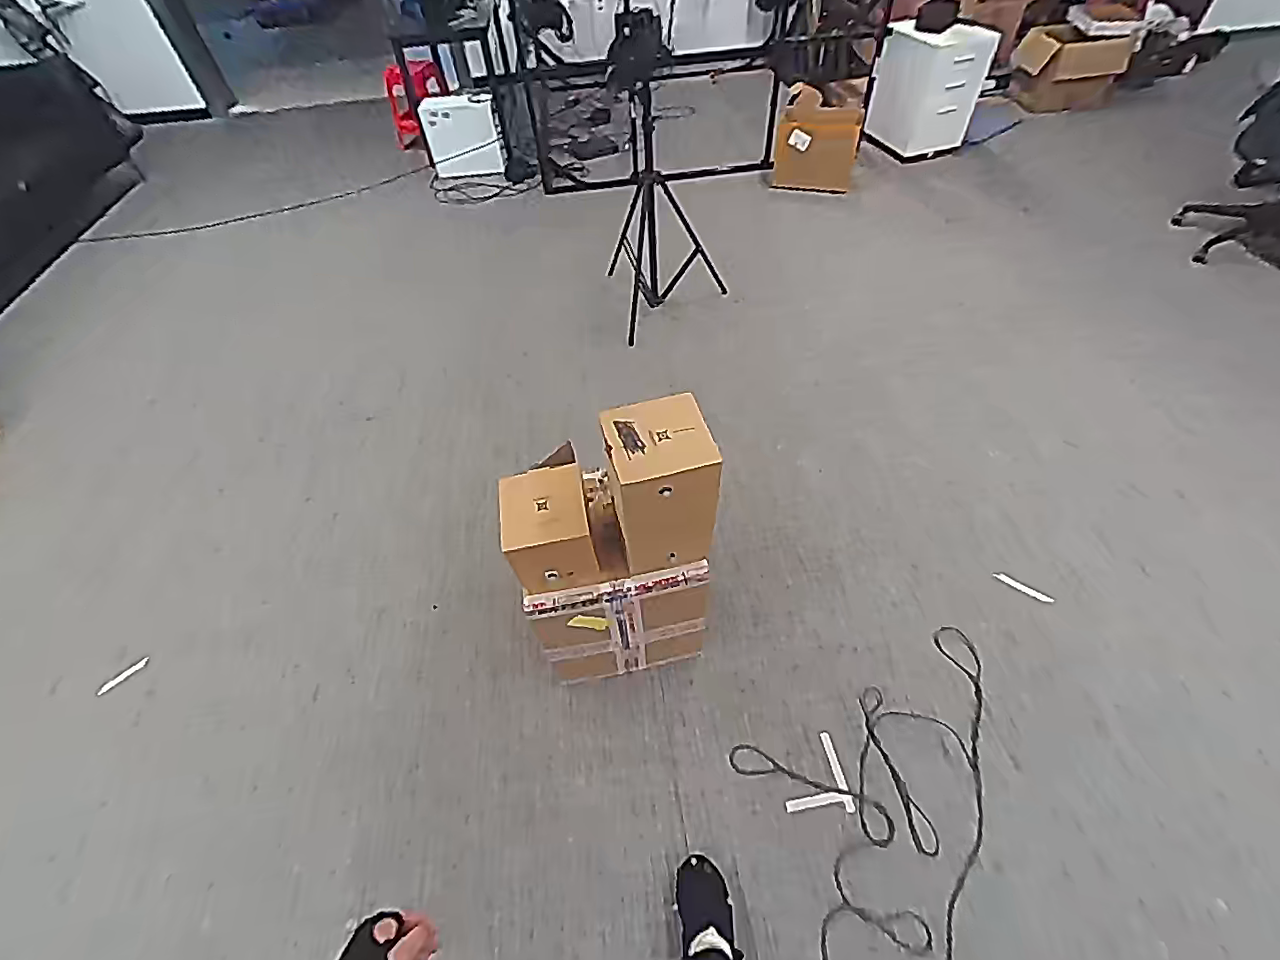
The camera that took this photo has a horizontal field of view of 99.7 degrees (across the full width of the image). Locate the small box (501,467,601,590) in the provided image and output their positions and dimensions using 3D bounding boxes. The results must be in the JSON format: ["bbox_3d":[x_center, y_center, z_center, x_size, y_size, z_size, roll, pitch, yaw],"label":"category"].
[{"bbox_3d":[-0.182,0.103,1.114,0.168,0.176,0.179,-12,55,-3],"label":"small box"}]

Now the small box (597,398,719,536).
[{"bbox_3d":[0.032,-0.018,0.985,0.179,0.176,0.168,-14,55,-8],"label":"small box"}]

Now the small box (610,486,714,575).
[{"bbox_3d":[0.038,0.075,1.122,0.179,0.176,0.168,-14,55,-8],"label":"small box"}]
